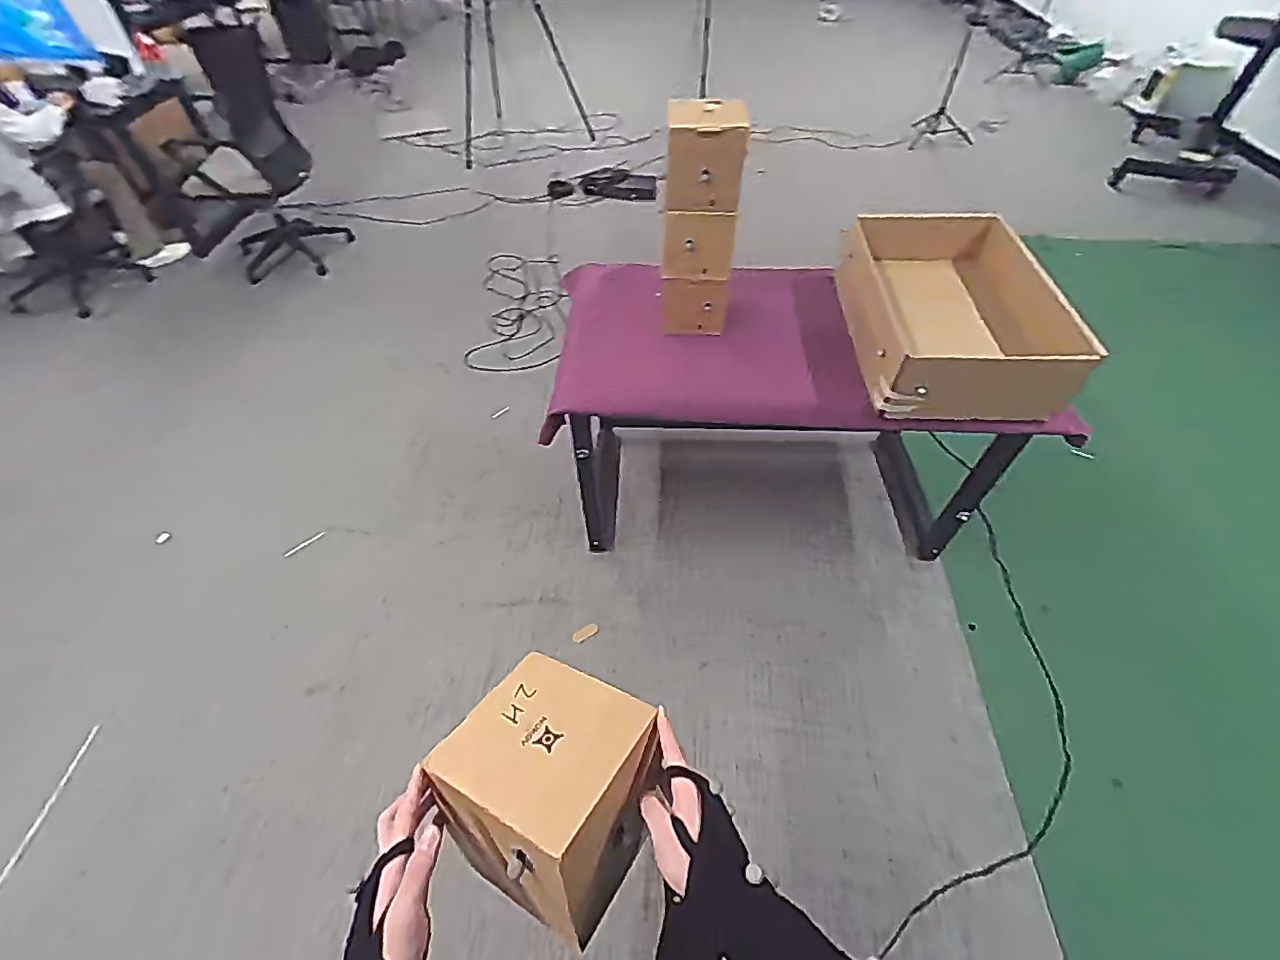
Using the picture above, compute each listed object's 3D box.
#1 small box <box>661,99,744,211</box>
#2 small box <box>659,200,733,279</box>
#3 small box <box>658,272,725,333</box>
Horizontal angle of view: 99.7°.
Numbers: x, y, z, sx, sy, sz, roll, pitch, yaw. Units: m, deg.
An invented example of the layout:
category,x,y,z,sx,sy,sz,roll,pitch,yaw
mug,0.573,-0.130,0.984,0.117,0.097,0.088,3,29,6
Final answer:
category,x,y,z,sx,sy,sz,roll,pitch,yaw
small box,0.132,-0.714,1.193,0.168,0.176,0.179,2,52,1
small box,0.132,-0.608,1.318,0.168,0.176,0.179,2,51,2
small box,0.135,-0.510,1.447,0.168,0.176,0.179,3,51,2
